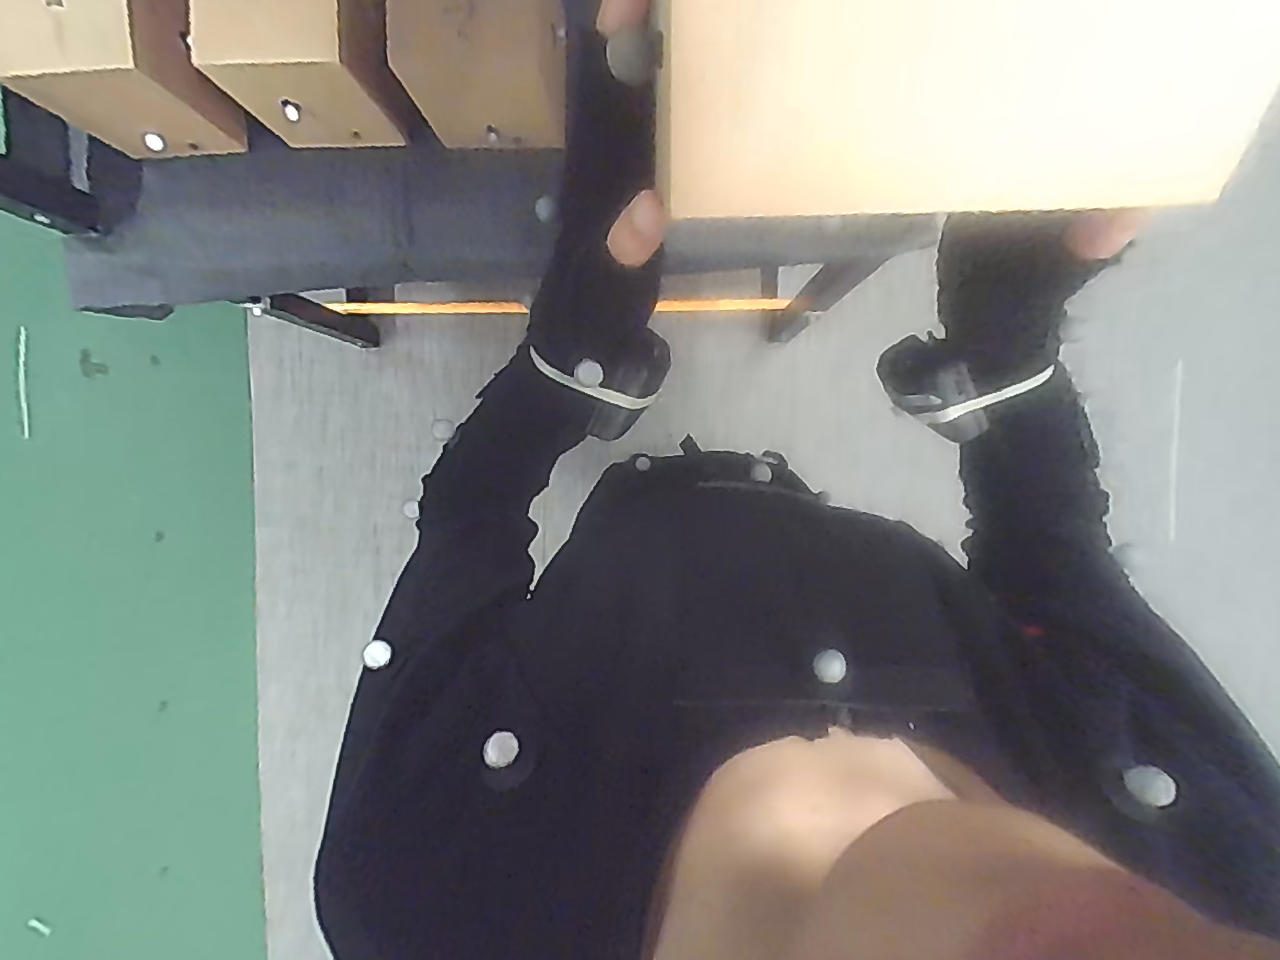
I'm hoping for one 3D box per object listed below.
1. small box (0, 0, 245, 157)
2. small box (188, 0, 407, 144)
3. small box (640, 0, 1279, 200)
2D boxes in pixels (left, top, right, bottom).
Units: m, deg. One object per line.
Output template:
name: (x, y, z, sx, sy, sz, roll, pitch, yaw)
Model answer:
small box: (-0.626, -0.533, 0.662, 0.168, 0.176, 0.179, -3, 93, 2)
small box: (-0.400, -0.539, 0.658, 0.168, 0.176, 0.179, 0, 92, 1)
small box: (0.084, -0.202, 0.183, 0.168, 0.176, 0.179, -1, 121, 0)
